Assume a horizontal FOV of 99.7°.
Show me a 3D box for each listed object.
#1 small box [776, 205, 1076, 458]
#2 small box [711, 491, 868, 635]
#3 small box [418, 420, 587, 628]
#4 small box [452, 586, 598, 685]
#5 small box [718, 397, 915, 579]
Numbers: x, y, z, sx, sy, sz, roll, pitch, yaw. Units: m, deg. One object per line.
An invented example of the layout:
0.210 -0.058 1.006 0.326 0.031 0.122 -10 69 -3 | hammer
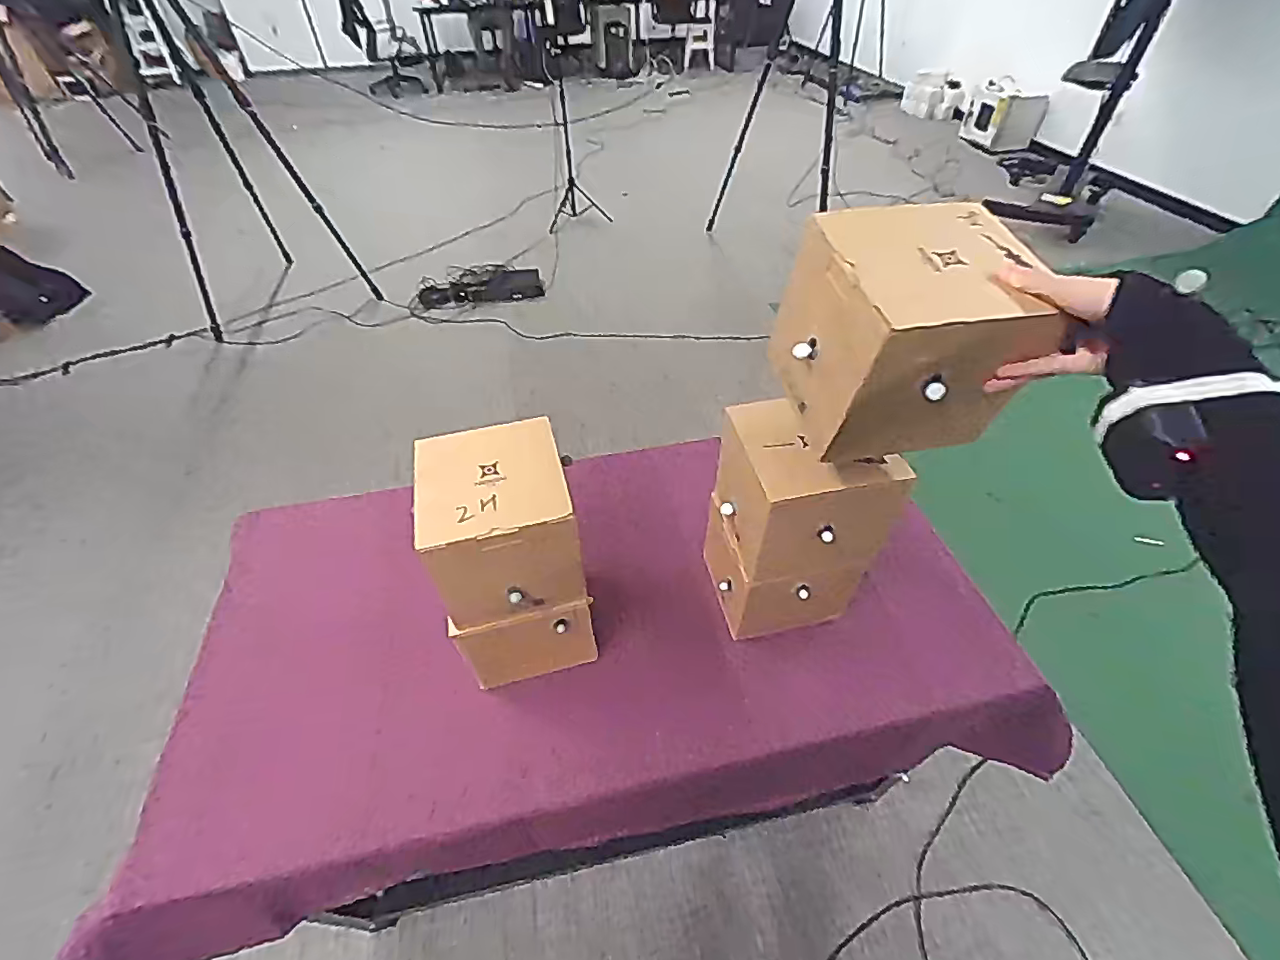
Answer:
0.245 -0.137 0.525 0.179 0.176 0.168 -8 56 -7 | small box
0.212 0.118 0.828 0.179 0.176 0.168 -9 48 -7 | small box
-0.168 0.054 0.677 0.168 0.176 0.179 -12 48 -10 | small box
-0.166 0.175 0.790 0.179 0.176 0.168 -12 48 -10 | small box
0.212 0.007 0.707 0.179 0.176 0.168 -10 48 -6 | small box
